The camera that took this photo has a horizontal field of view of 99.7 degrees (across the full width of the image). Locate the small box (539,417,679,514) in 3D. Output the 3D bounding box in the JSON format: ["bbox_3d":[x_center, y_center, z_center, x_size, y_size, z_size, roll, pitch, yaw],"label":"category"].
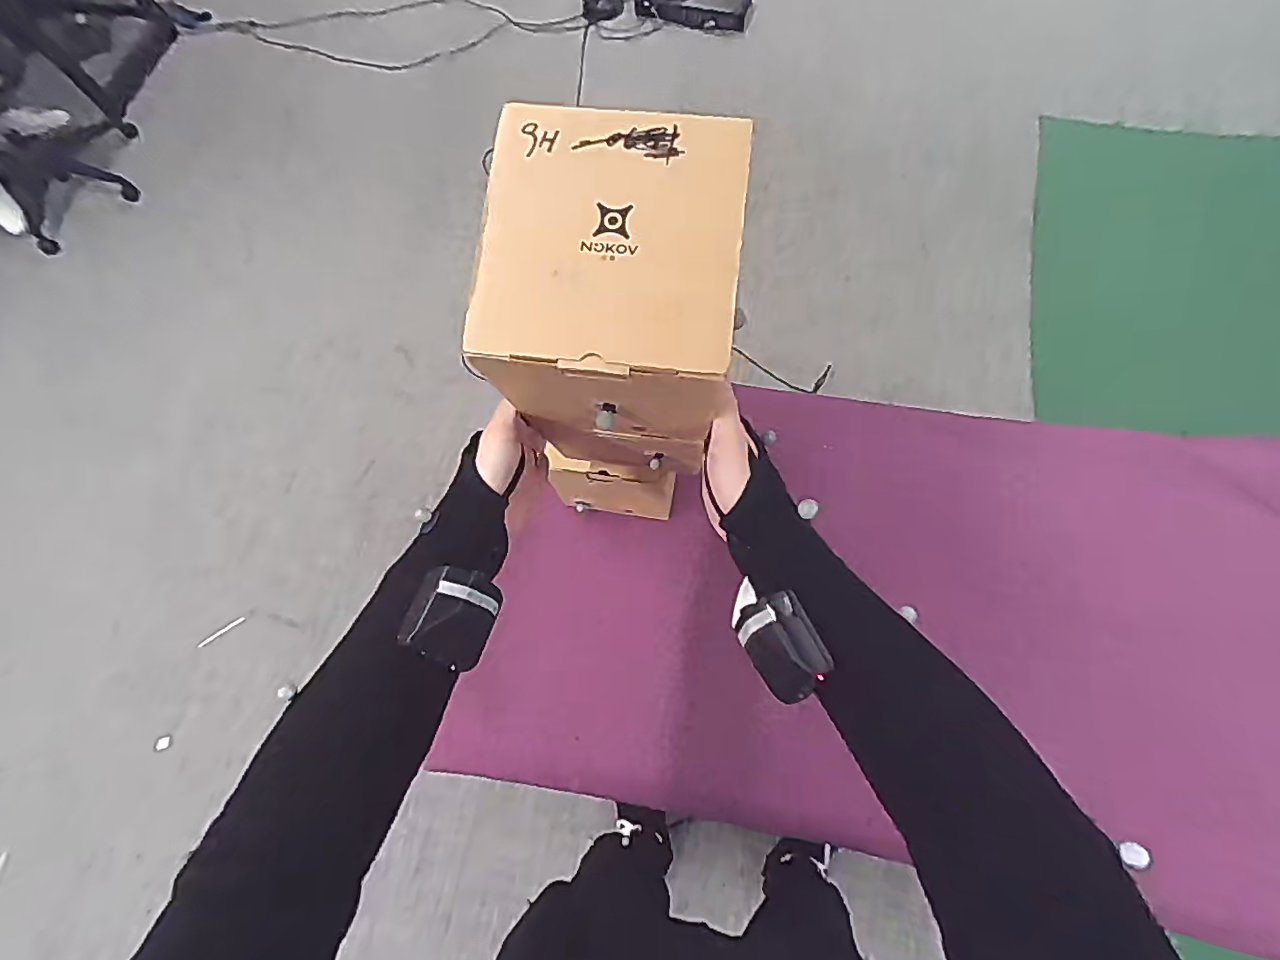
[{"bbox_3d":[-0.032,-0.059,0.787,0.168,0.176,0.179,7,70,7],"label":"small box"}]

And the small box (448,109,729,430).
[{"bbox_3d":[-0.027,-0.143,0.422,0.168,0.176,0.179,6,82,4],"label":"small box"}]
